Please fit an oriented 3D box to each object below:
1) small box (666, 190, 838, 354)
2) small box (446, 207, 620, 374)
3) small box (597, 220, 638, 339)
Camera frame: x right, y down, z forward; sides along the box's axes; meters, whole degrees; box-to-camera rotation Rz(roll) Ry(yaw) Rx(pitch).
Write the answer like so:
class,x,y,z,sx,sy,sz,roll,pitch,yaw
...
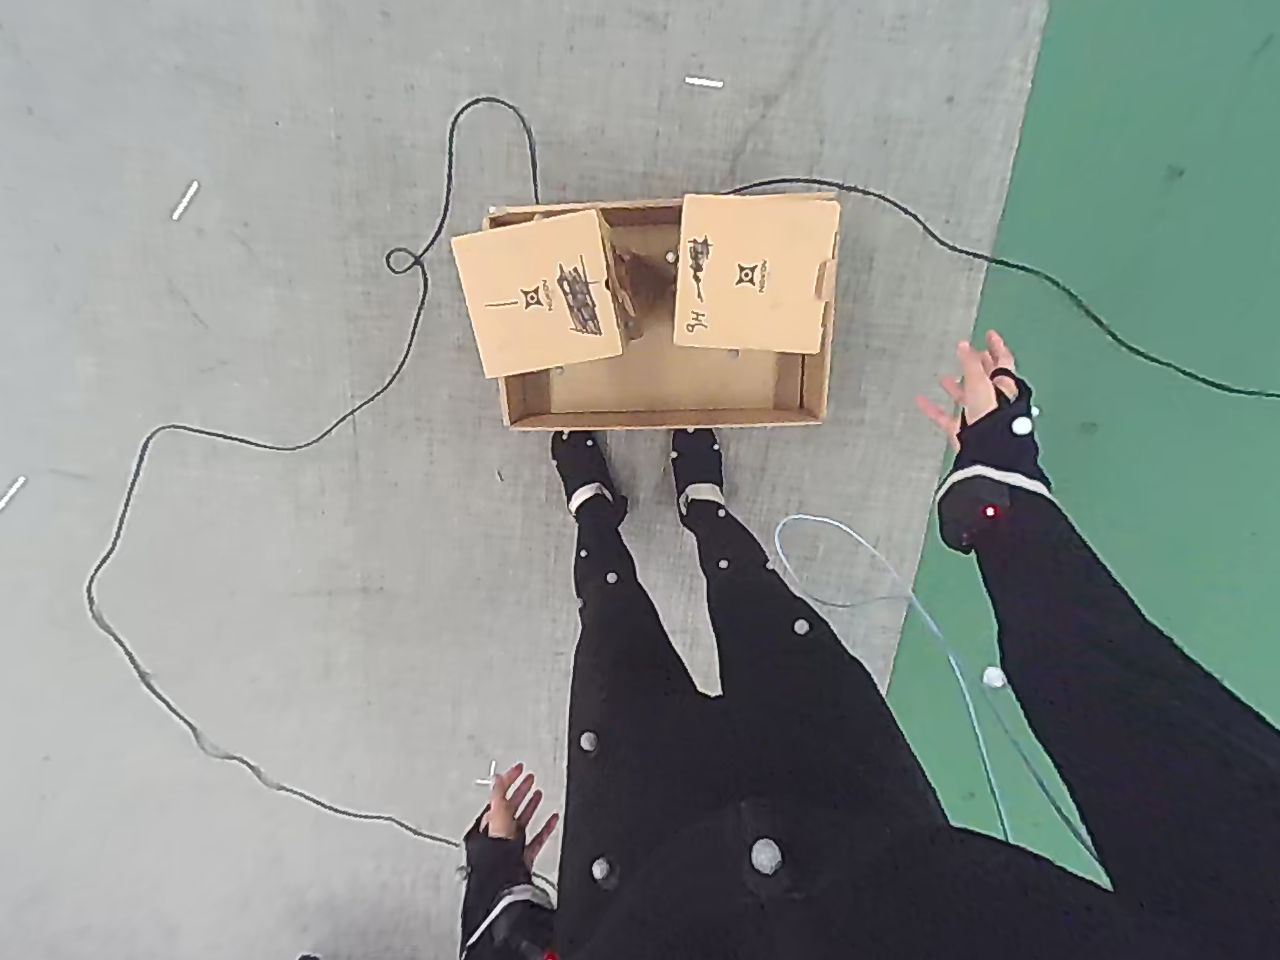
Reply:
class,x,y,z,sx,sy,sz,roll,pitch,yaw
small box,0.127,-0.257,0.690,0.179,0.176,0.168,5,107,2
small box,-0.123,-0.244,0.709,0.179,0.176,0.168,-9,107,5
small box,-0.108,-0.296,0.864,0.179,0.176,0.168,-16,107,6
